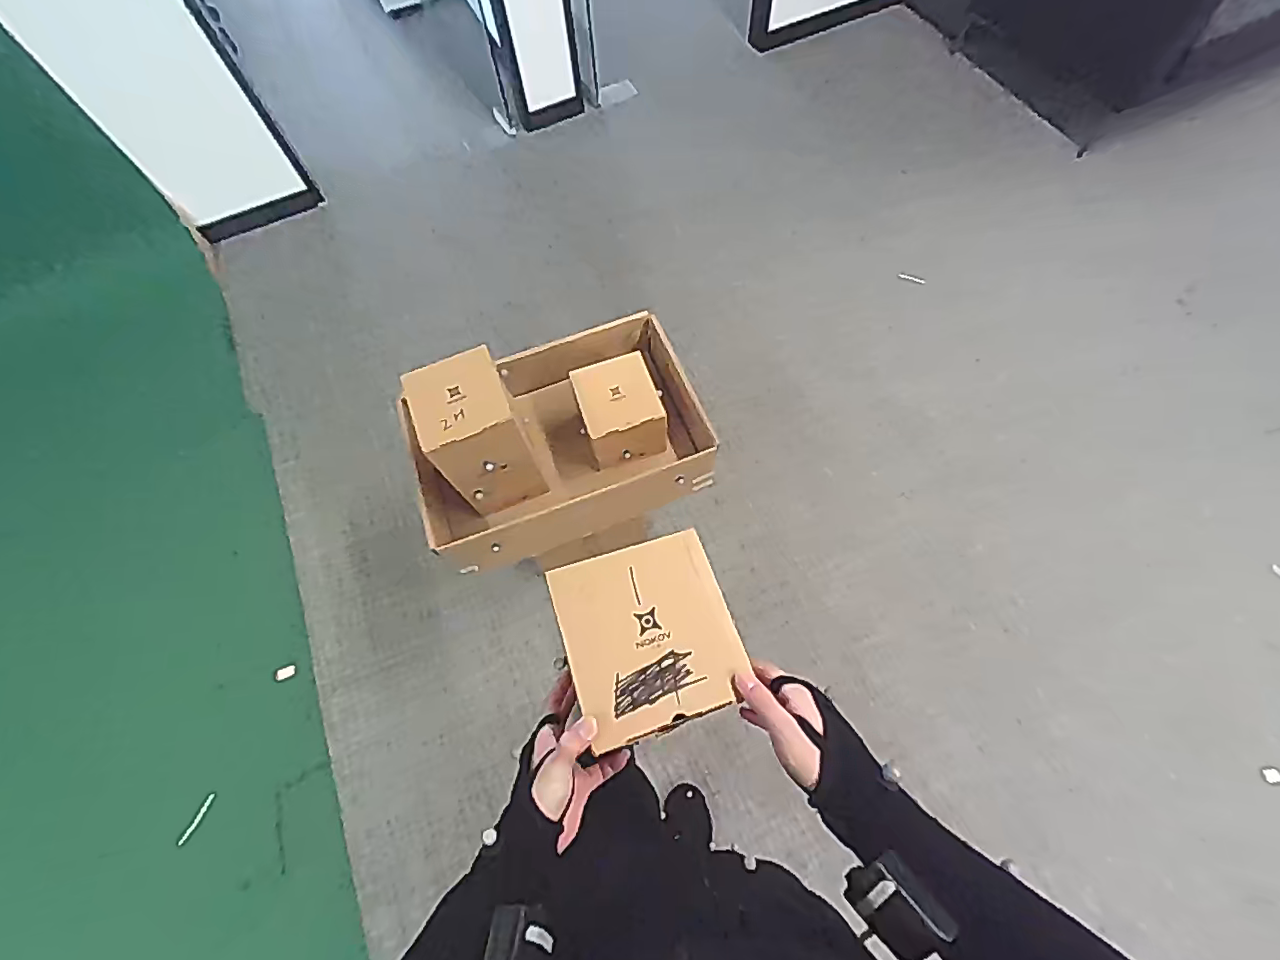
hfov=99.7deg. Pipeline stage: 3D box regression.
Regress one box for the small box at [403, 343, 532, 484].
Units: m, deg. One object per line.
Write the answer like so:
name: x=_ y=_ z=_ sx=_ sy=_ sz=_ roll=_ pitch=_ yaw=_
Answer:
small box: x=-0.321 y=-0.120 z=1.027 sx=0.168 sy=0.176 sz=0.179 roll=-22 pitch=67 yaw=-7

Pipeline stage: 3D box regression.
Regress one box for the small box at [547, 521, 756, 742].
small box: x=0.004 y=0.171 z=0.593 sx=0.168 sy=0.176 sz=0.179 roll=-14 pitch=64 yaw=-12

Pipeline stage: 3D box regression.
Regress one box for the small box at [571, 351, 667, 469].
small box: x=-0.046 y=-0.153 z=1.212 sx=0.168 sy=0.176 sz=0.179 roll=-18 pitch=67 yaw=-6
